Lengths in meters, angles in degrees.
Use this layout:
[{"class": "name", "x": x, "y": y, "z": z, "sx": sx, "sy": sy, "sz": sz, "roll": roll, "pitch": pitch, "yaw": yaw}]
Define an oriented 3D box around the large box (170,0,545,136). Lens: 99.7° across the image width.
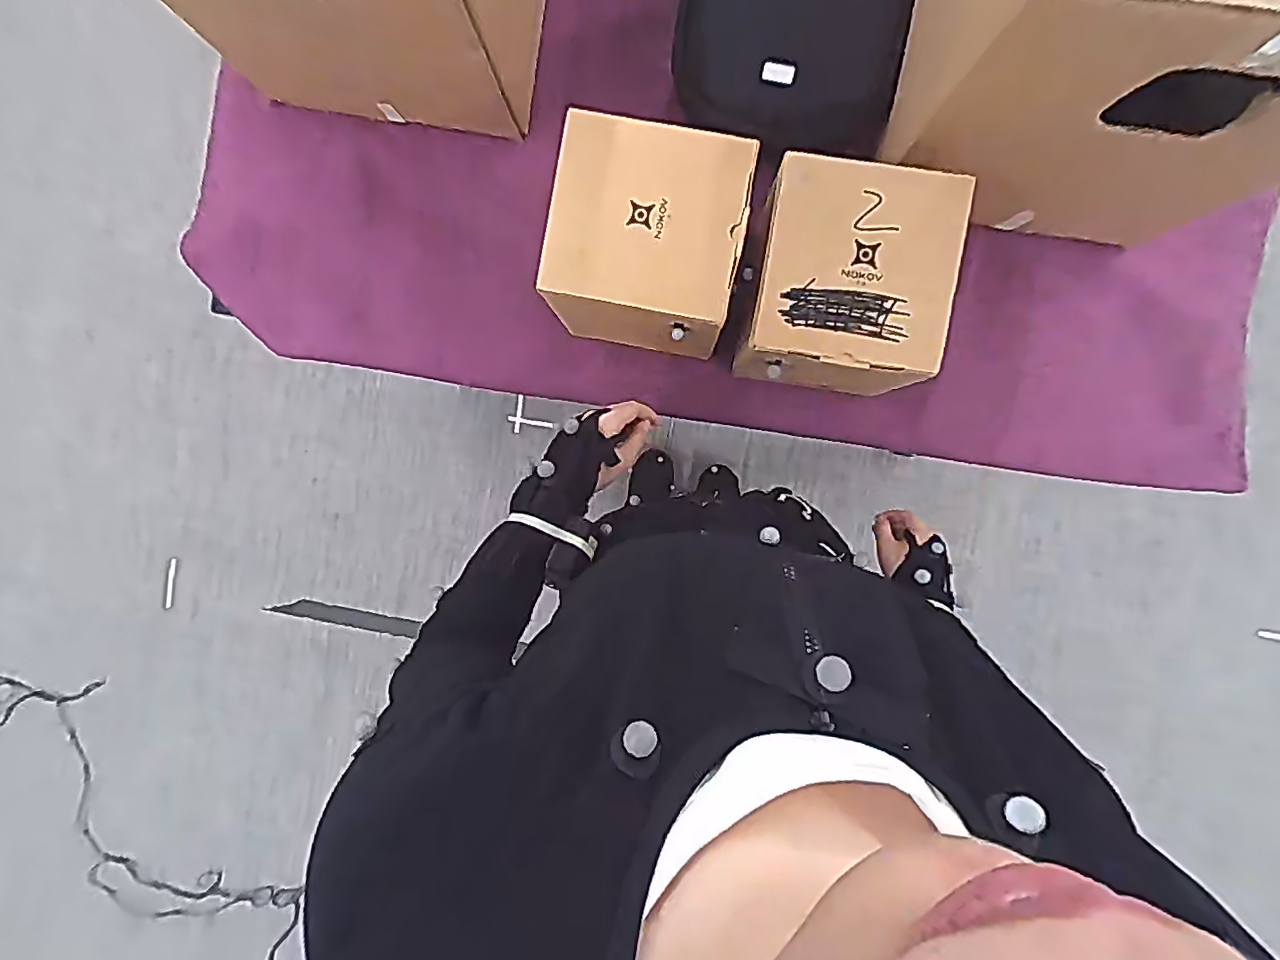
[{"class": "large box", "x": -0.256, "y": -0.612, "z": 0.482, "sx": 0.320, "sy": 0.320, "sz": 0.408, "roll": 8, "pitch": 96, "yaw": 1}]
